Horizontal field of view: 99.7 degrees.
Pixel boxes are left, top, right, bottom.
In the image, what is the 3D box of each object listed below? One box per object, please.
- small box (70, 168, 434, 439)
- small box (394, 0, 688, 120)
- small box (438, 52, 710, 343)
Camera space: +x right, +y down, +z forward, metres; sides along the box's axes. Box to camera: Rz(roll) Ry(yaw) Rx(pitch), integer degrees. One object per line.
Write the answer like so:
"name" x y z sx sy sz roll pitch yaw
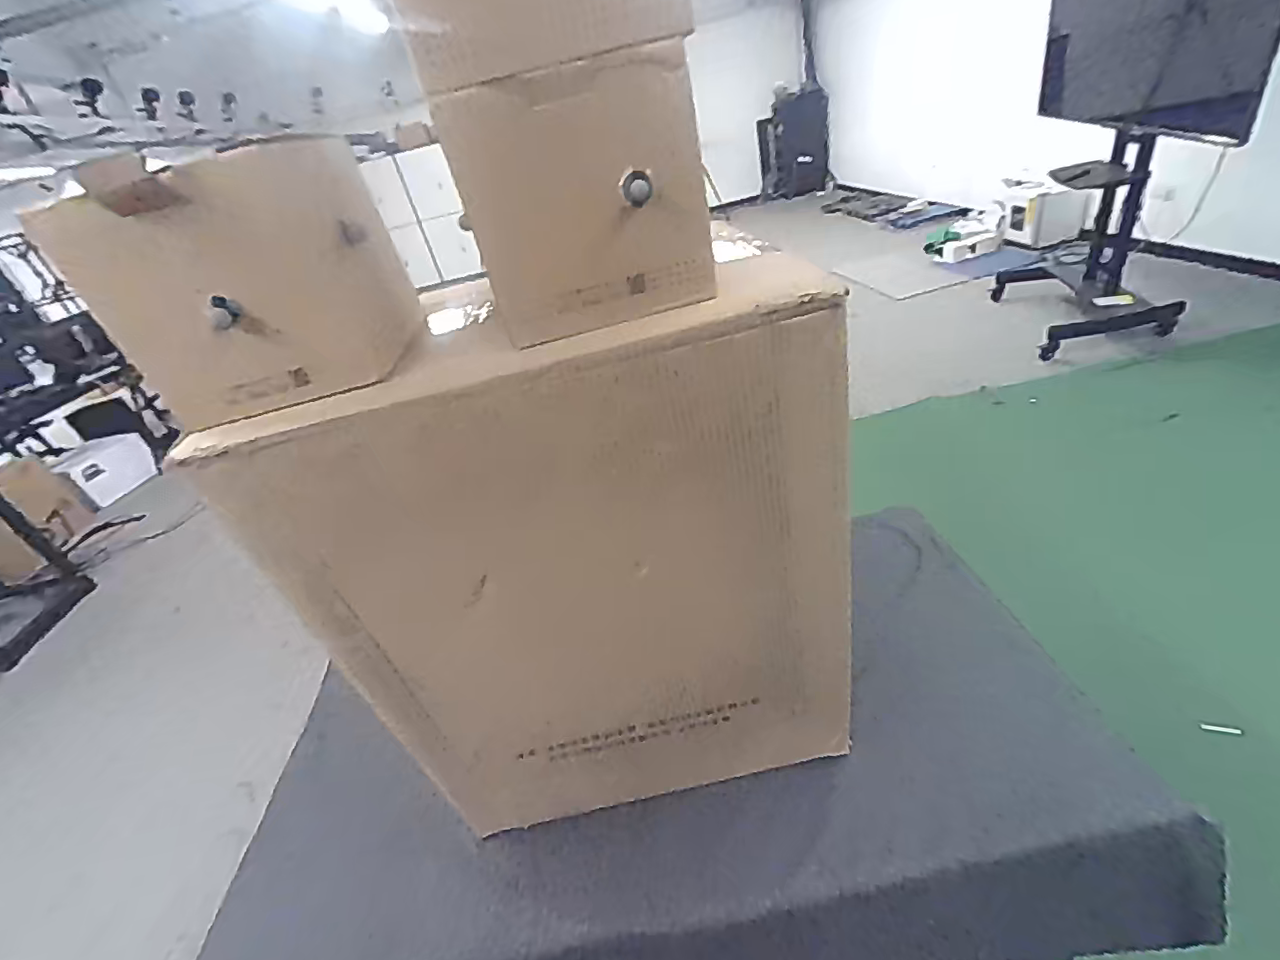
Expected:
"small box" -0.302 -0.153 0.477 0.168 0.176 0.179 -17 34 -1
"small box" -0.066 -0.348 0.372 0.179 0.176 0.168 -11 34 4
"small box" -0.044 -0.228 0.455 0.168 0.176 0.179 -13 33 0
